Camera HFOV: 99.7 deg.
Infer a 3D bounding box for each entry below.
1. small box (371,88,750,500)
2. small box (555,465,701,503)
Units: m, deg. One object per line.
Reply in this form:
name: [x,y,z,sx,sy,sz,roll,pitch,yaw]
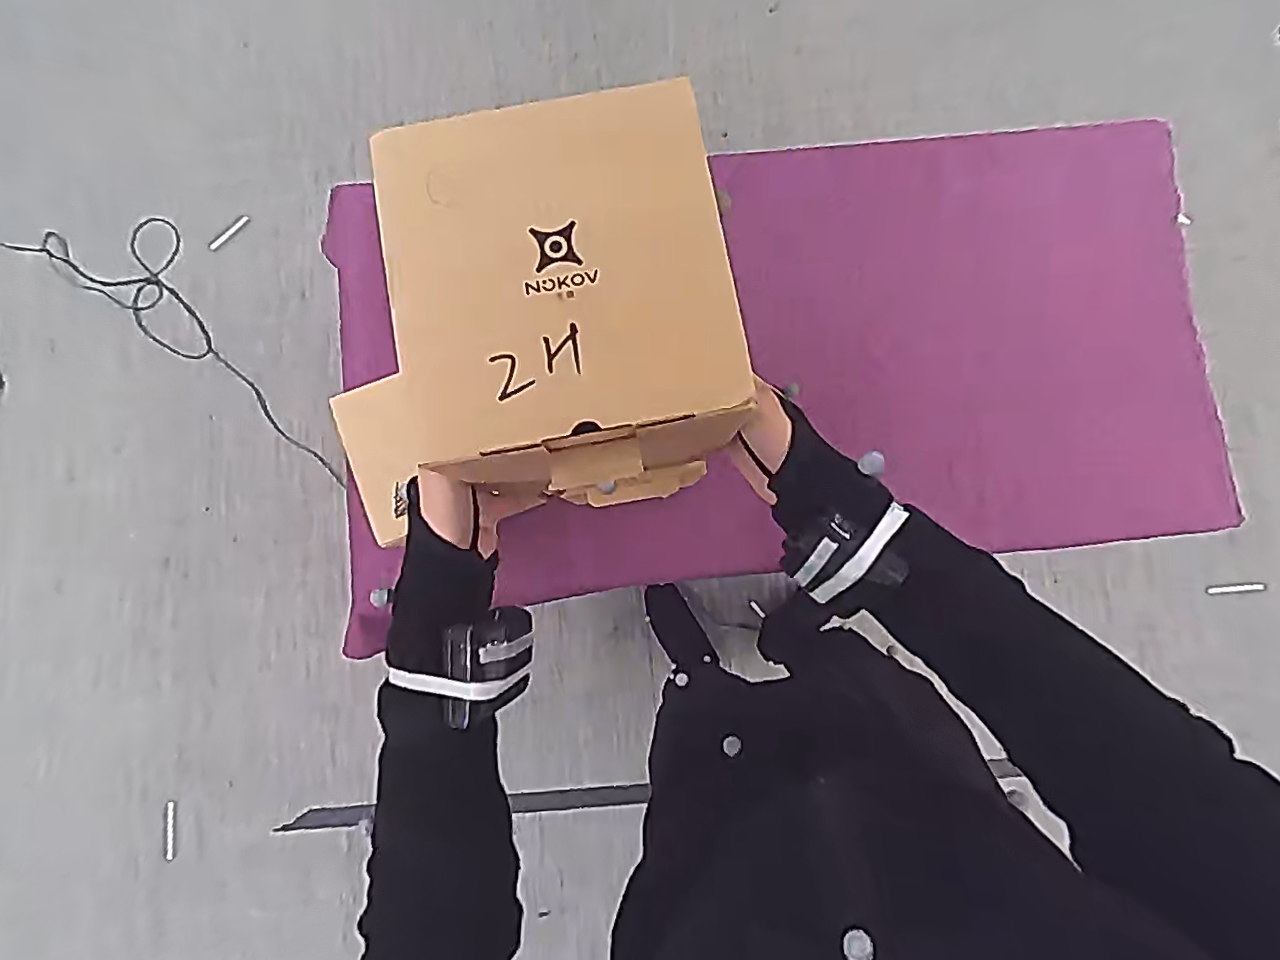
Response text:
small box: [-0.041,-0.092,0.343,0.168,0.176,0.179,-11,83,0]
small box: [-0.023,-0.067,0.674,0.168,0.176,0.179,-9,84,-1]
